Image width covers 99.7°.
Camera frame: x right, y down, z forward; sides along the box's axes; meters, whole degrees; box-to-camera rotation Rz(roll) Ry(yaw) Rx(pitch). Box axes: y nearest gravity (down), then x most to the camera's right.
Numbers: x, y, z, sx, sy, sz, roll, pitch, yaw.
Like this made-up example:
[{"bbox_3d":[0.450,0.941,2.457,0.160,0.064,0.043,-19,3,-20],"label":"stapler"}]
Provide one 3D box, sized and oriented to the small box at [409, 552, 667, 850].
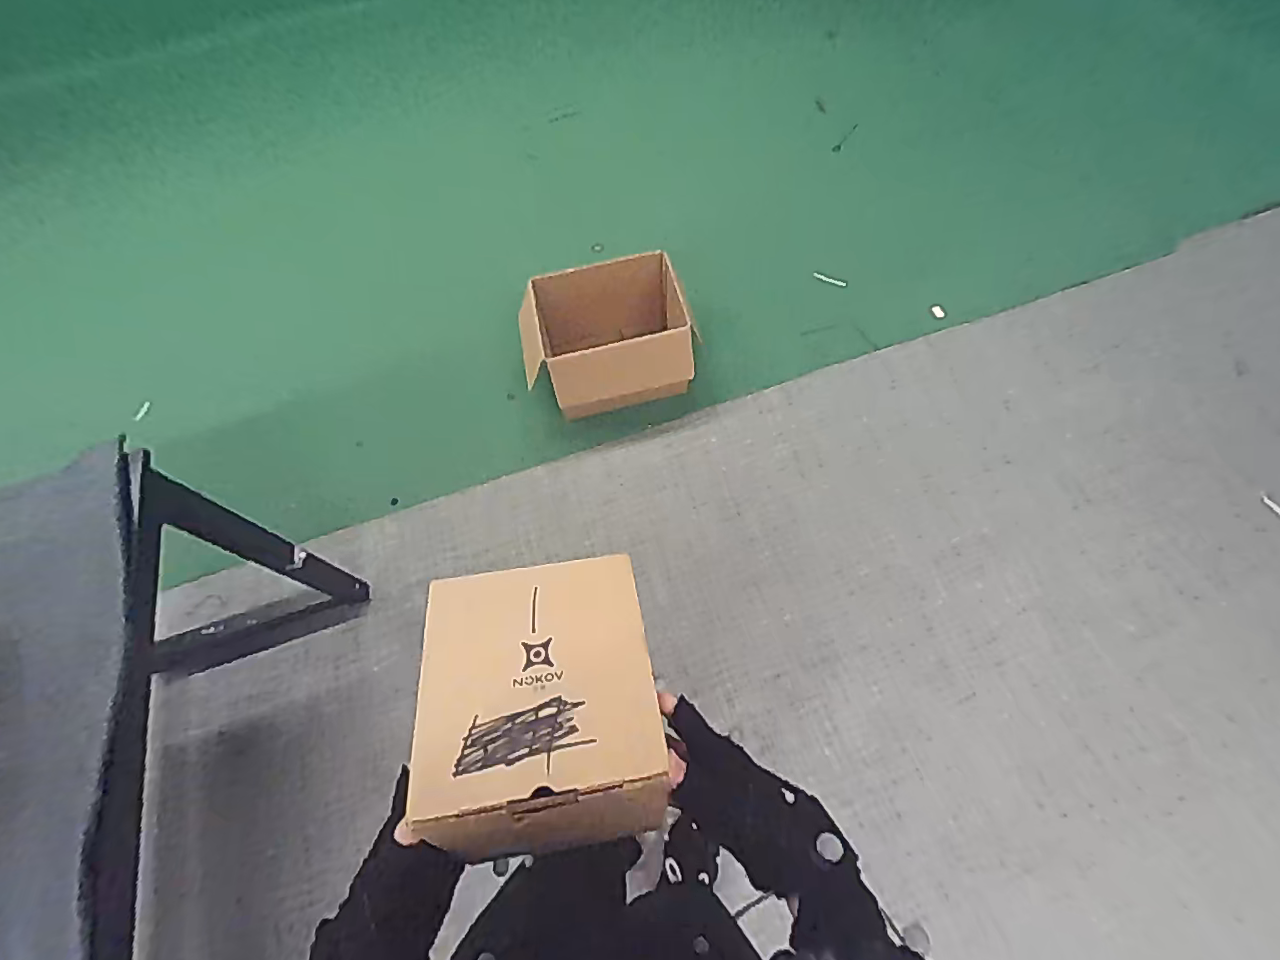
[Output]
[{"bbox_3d":[-0.072,0.186,0.449,0.168,0.176,0.179,-7,47,-6],"label":"small box"}]
